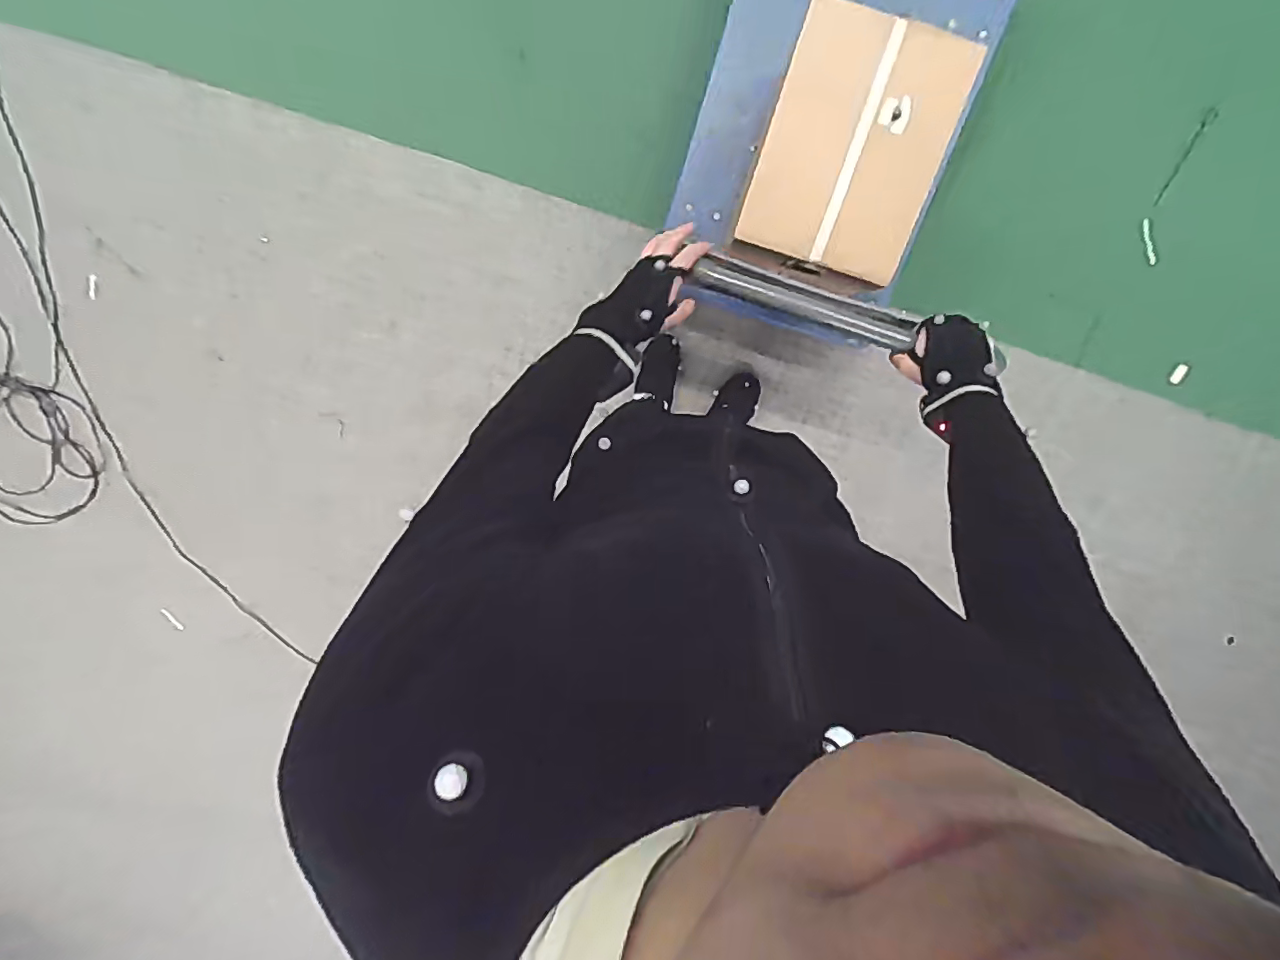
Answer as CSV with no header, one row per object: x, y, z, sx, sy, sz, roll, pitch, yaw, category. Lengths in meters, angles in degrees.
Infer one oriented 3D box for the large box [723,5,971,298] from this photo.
0.385,-0.630,1.126,0.320,0.320,0.408,17,105,-1,large box
